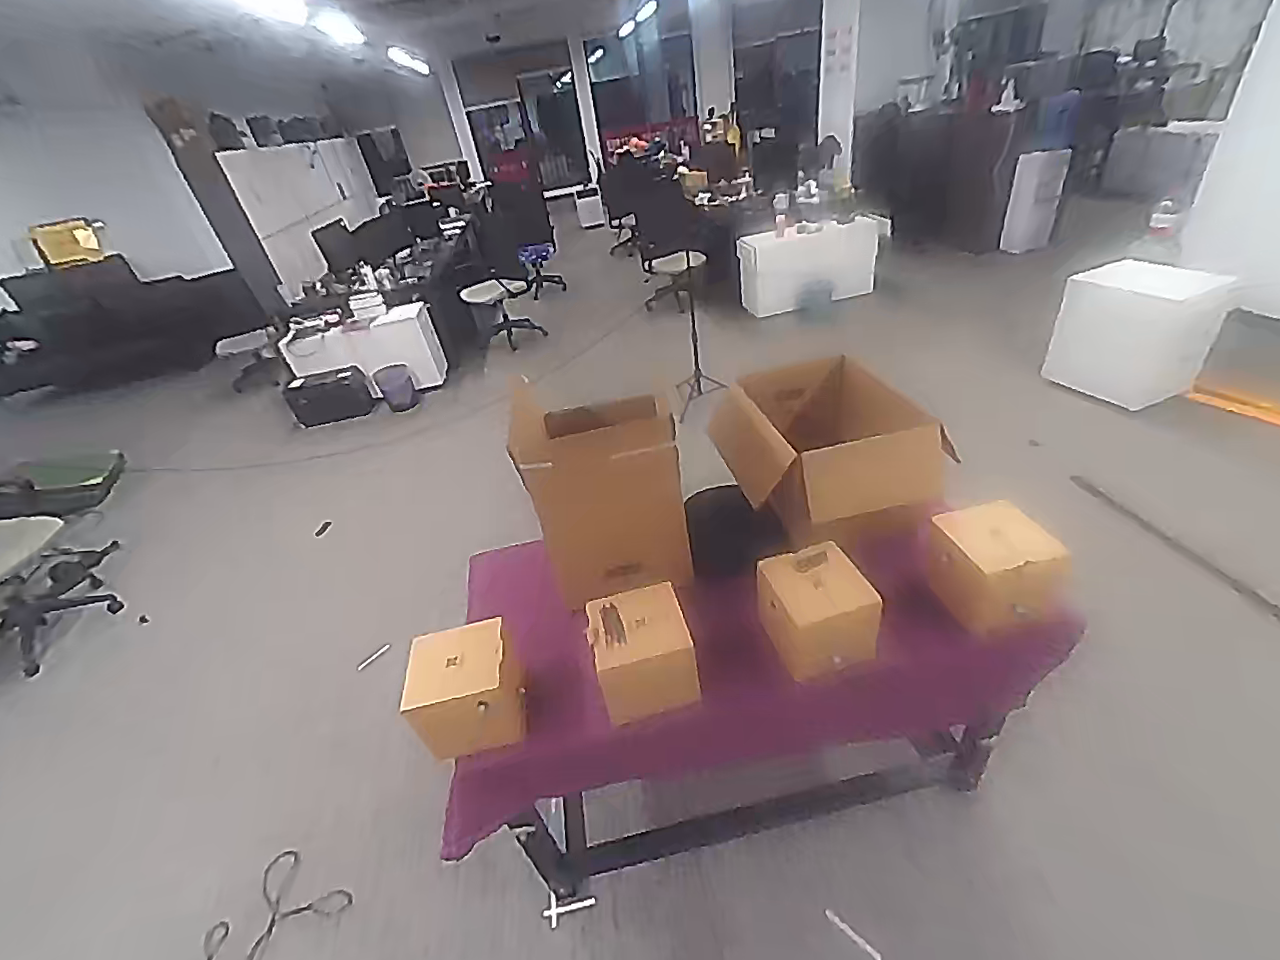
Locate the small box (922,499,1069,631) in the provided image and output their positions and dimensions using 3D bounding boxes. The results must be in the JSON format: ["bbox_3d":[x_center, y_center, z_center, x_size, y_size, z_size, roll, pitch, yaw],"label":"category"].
[{"bbox_3d":[0.691,0.168,1.079,0.168,0.176,0.179,-14,34,-2],"label":"small box"}]

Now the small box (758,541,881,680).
[{"bbox_3d":[0.342,0.253,1.058,0.168,0.176,0.179,-16,36,-6],"label":"small box"}]

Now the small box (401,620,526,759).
[{"bbox_3d":[-0.325,0.401,1.033,0.179,0.176,0.168,-13,34,-4],"label":"small box"}]
